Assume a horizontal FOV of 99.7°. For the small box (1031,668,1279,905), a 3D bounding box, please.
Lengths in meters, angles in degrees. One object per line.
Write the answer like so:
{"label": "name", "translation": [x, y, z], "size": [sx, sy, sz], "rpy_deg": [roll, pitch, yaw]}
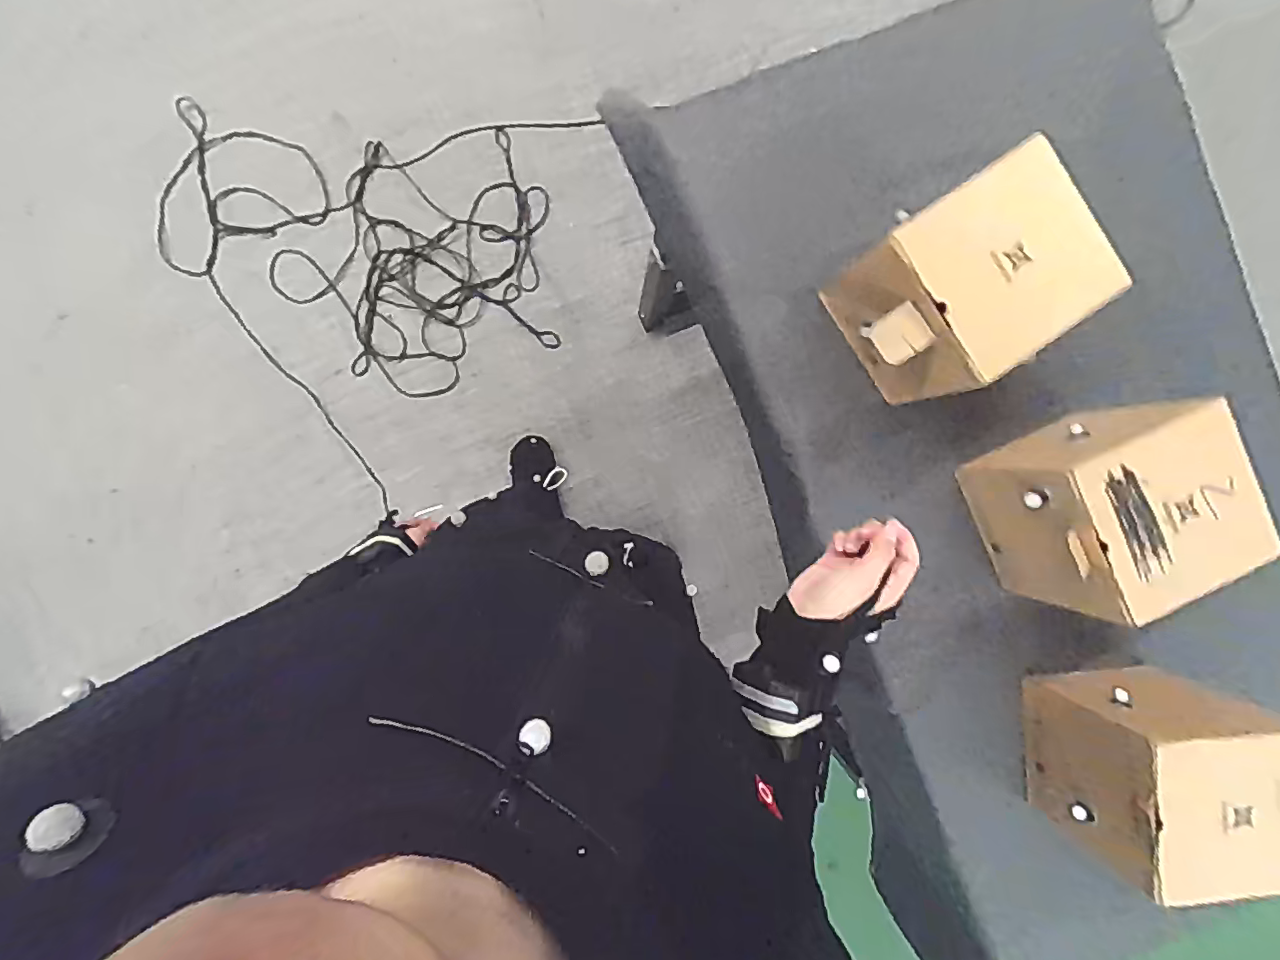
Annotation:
{"label": "small box", "translation": [0.580, 0.326, 0.609], "size": [0.179, 0.176, 0.168], "rpy_deg": [-3, 93, -5]}

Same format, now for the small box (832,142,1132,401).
{"label": "small box", "translation": [0.344, -0.203, 0.579], "size": [0.179, 0.176, 0.168], "rpy_deg": [-35, 94, -2]}
